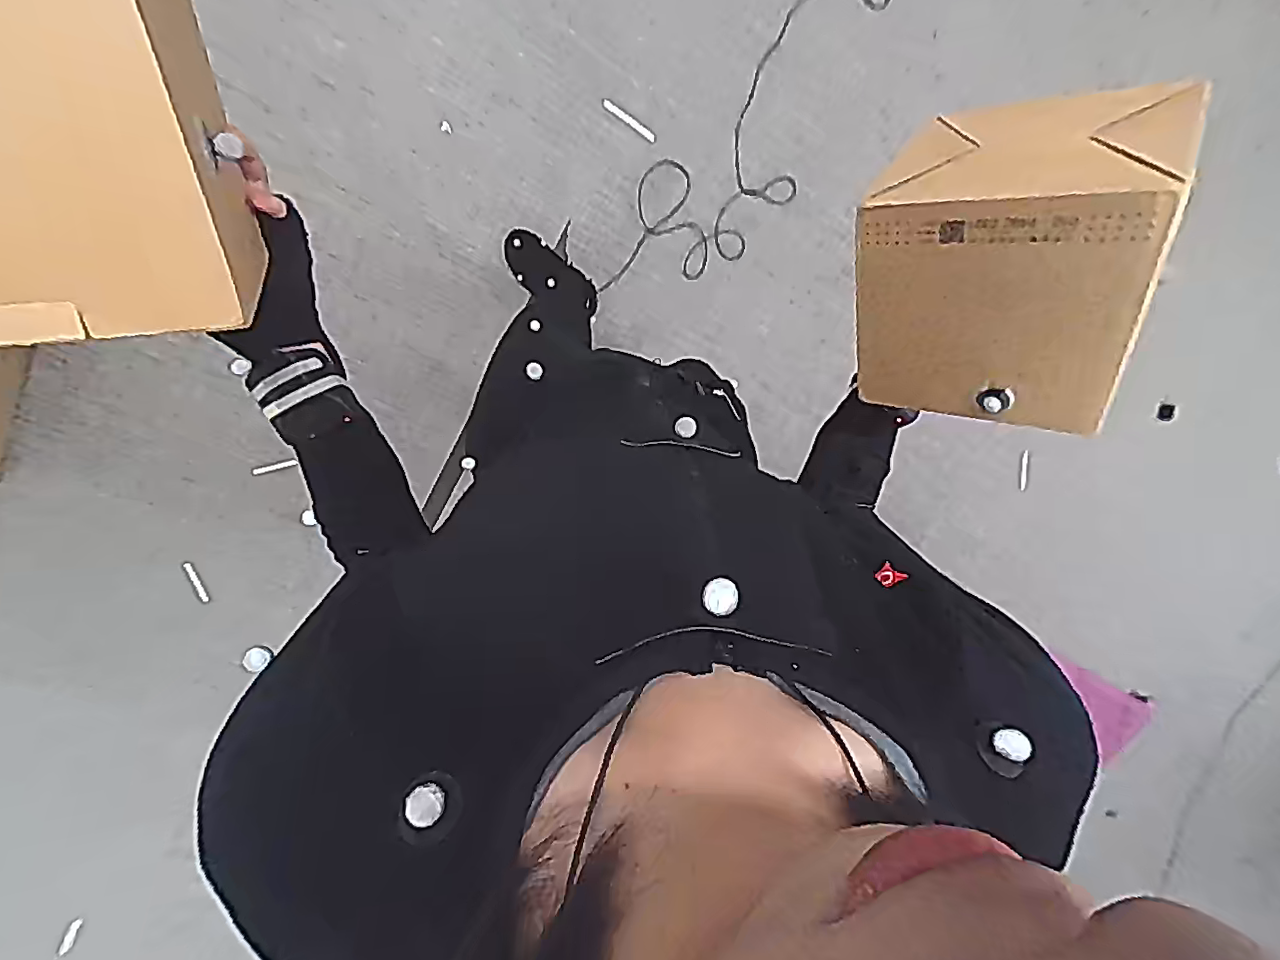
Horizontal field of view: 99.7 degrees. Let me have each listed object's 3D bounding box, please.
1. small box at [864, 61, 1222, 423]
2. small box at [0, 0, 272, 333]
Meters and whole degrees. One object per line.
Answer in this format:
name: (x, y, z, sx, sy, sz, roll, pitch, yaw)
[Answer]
small box: (0.278, -0.172, 0.396, 0.179, 0.168, 0.176, -50, 138, -27)
small box: (-0.301, -0.178, 0.256, 0.168, 0.179, 0.176, -12, 127, -22)
